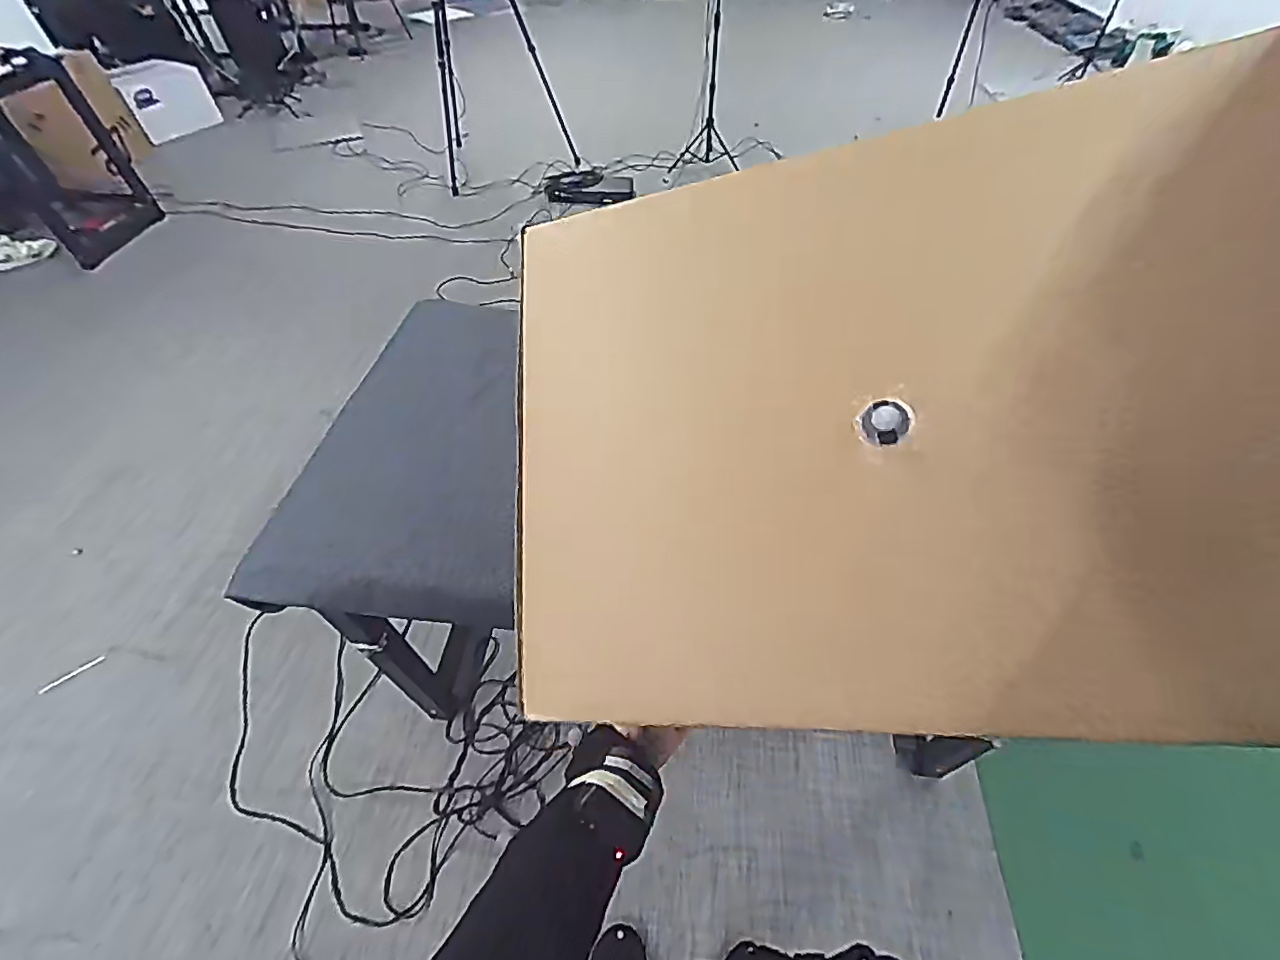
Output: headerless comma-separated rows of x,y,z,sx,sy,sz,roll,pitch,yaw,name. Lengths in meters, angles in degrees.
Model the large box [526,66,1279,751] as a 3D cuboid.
0.168,-0.002,0.417,0.408,0.320,0.320,-8,77,16,large box
